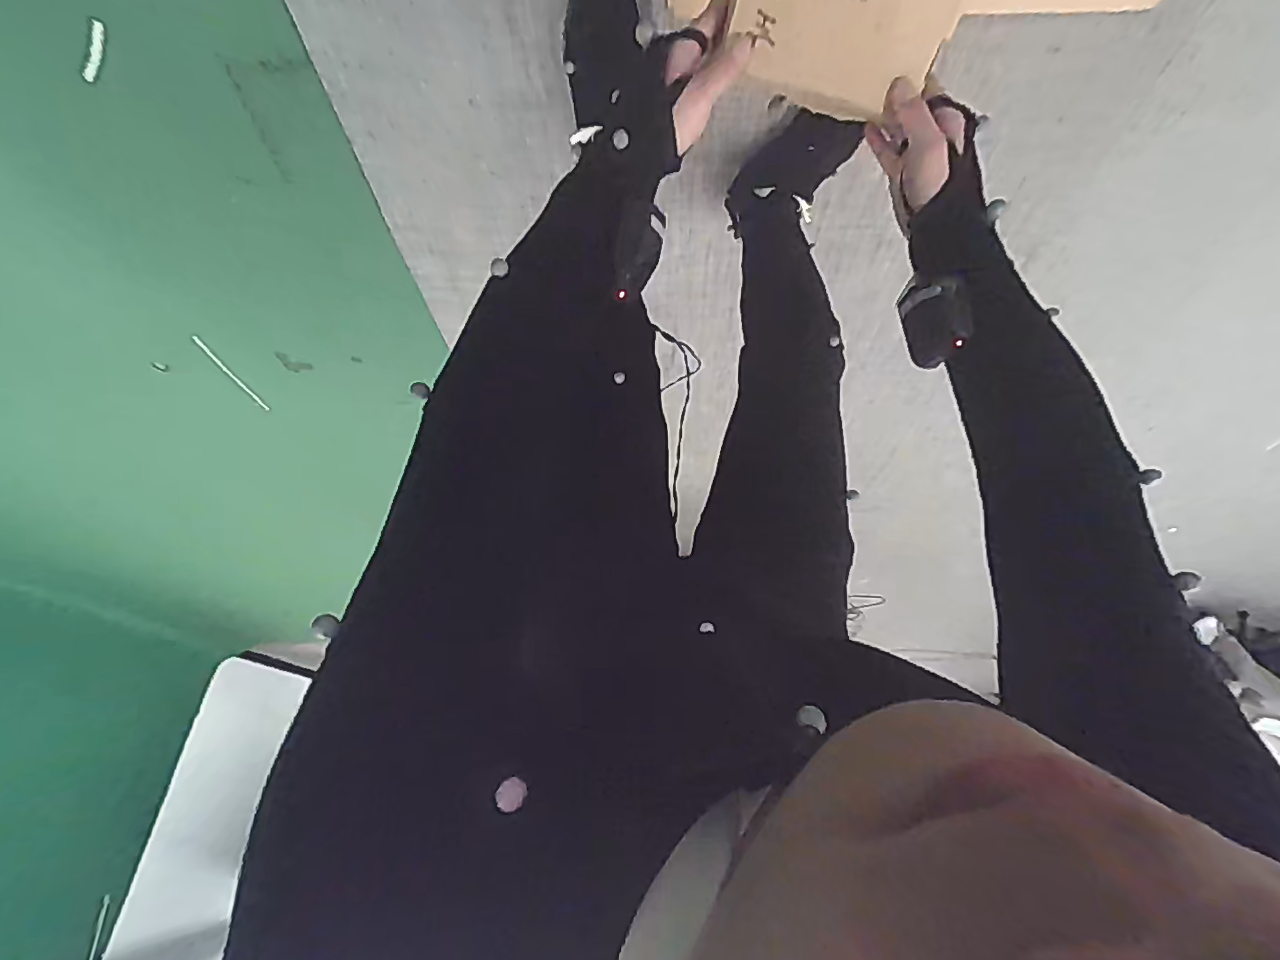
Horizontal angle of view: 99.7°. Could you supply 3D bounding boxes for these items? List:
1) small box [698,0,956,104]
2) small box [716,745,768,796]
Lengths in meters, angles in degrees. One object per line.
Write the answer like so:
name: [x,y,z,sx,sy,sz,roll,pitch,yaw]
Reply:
small box: [0.165,-0.451,0.467,0.179,0.176,0.168,9,126,-11]
small box: [0.387,1.117,2.083,0.179,0.176,0.168,-1,152,2]
